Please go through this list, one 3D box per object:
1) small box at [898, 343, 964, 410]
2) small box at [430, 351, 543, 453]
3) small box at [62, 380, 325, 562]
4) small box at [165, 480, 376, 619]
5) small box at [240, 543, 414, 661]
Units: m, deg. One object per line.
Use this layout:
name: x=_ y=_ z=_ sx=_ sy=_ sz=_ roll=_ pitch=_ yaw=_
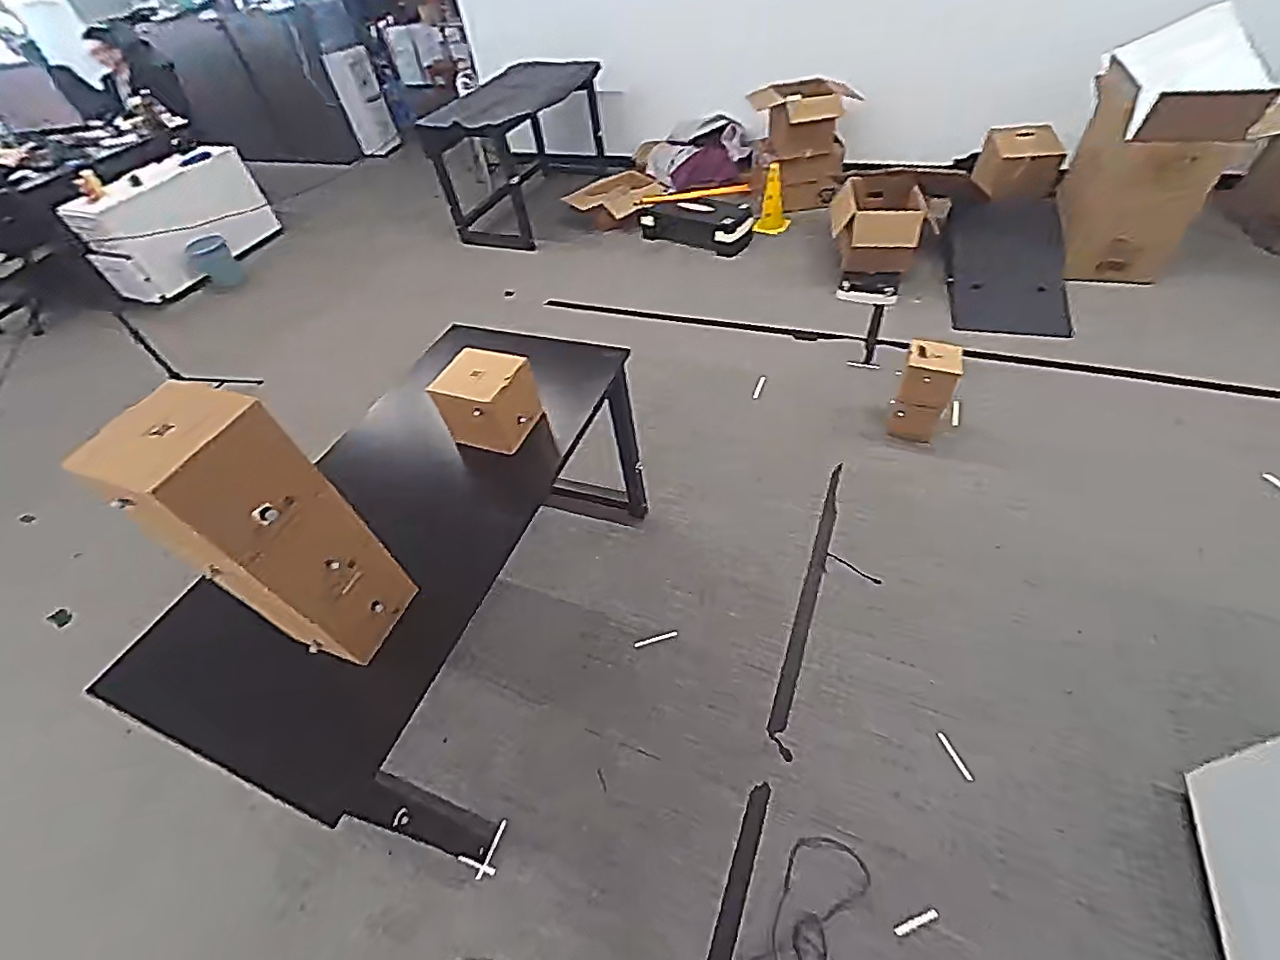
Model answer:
small box: x=1.078 y=-0.382 z=2.009 sx=0.179 sy=0.176 sz=0.168 roll=14 pitch=52 yaw=18
small box: x=-0.357 y=-0.184 z=1.292 sx=0.179 sy=0.176 sz=0.168 roll=13 pitch=52 yaw=18
small box: x=-0.584 y=-0.010 z=0.733 sx=0.179 sy=0.176 sz=0.168 roll=12 pitch=53 yaw=17
small box: x=-0.567 y=0.097 z=0.854 sx=0.179 sy=0.176 sz=0.168 roll=12 pitch=52 yaw=18
small box: x=-0.548 y=0.206 z=0.976 sx=0.179 sy=0.176 sz=0.168 roll=12 pitch=51 yaw=17
